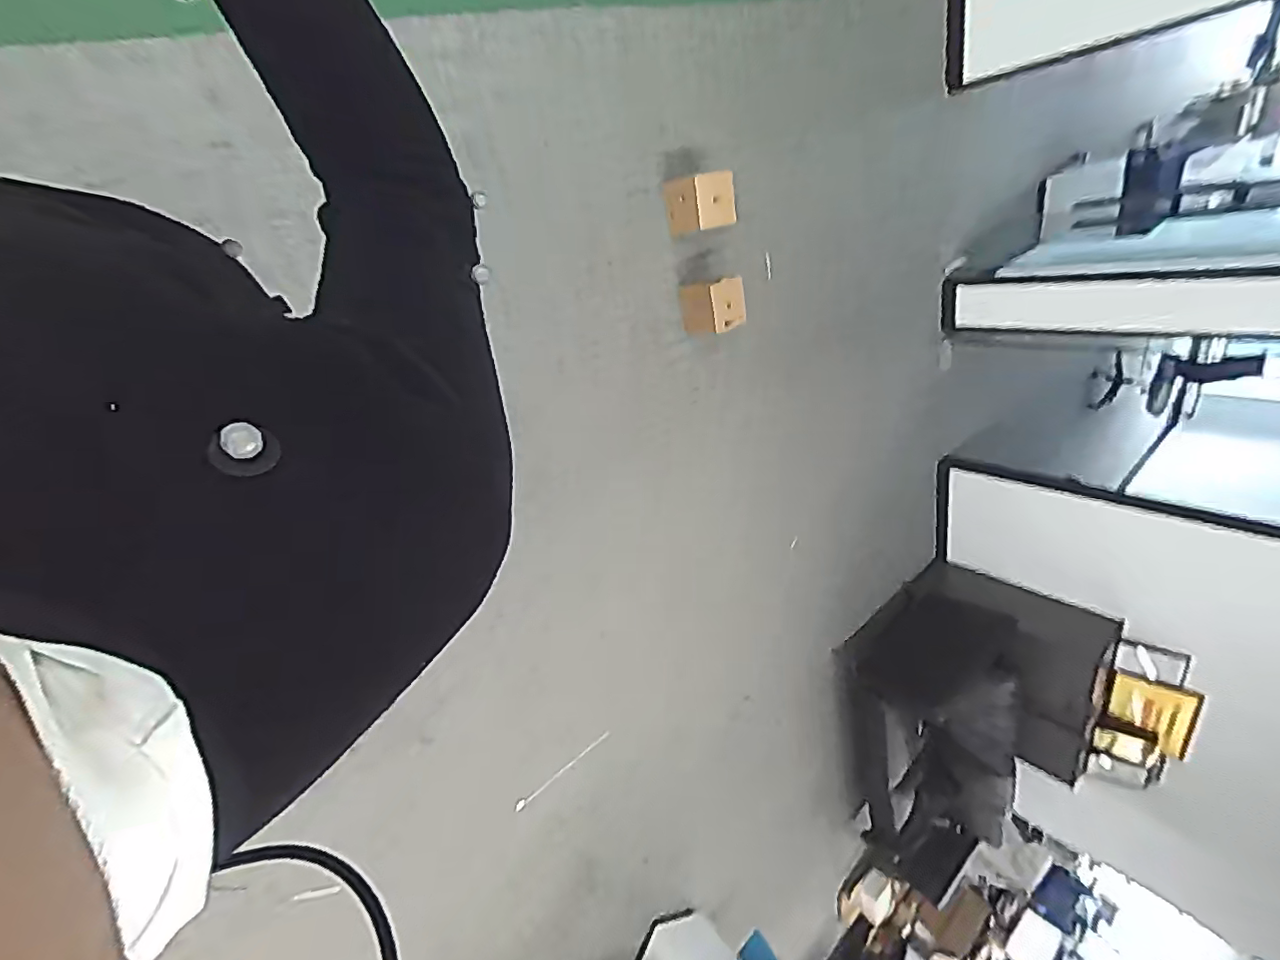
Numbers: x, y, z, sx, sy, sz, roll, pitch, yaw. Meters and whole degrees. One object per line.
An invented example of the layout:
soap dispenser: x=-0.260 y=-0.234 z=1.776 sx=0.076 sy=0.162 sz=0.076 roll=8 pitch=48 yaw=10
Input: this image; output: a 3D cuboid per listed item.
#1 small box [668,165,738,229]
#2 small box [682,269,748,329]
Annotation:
small box: x=0.211 y=-0.975 z=1.867 sx=0.179 sy=0.176 sz=0.168 roll=-27 pitch=120 yaw=-30
small box: x=0.277 y=-0.673 z=2.016 sx=0.168 sy=0.176 sz=0.179 roll=-29 pitch=120 yaw=-27
